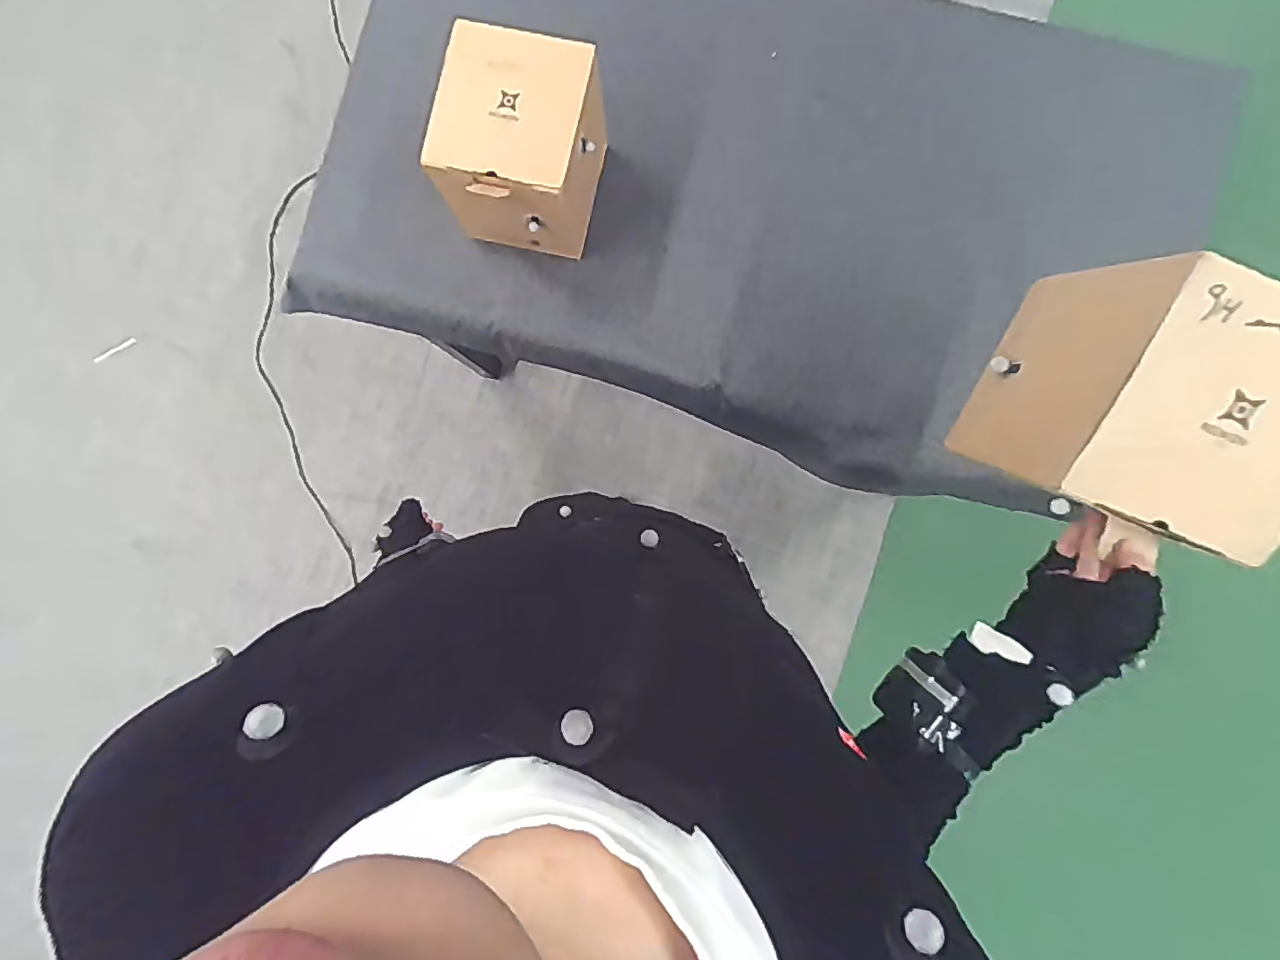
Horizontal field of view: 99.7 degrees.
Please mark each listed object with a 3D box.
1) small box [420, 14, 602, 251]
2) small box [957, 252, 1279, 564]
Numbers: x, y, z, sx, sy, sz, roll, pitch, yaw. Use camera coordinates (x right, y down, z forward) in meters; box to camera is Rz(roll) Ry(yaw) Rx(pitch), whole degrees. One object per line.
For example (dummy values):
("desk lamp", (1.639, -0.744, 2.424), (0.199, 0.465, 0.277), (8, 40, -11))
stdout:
("small box", (-0.147, -0.418, 0.680), (0.168, 0.176, 0.179), (12, 86, 1))
("small box", (0.407, -0.064, 0.453), (0.168, 0.176, 0.179), (21, 105, -4))
